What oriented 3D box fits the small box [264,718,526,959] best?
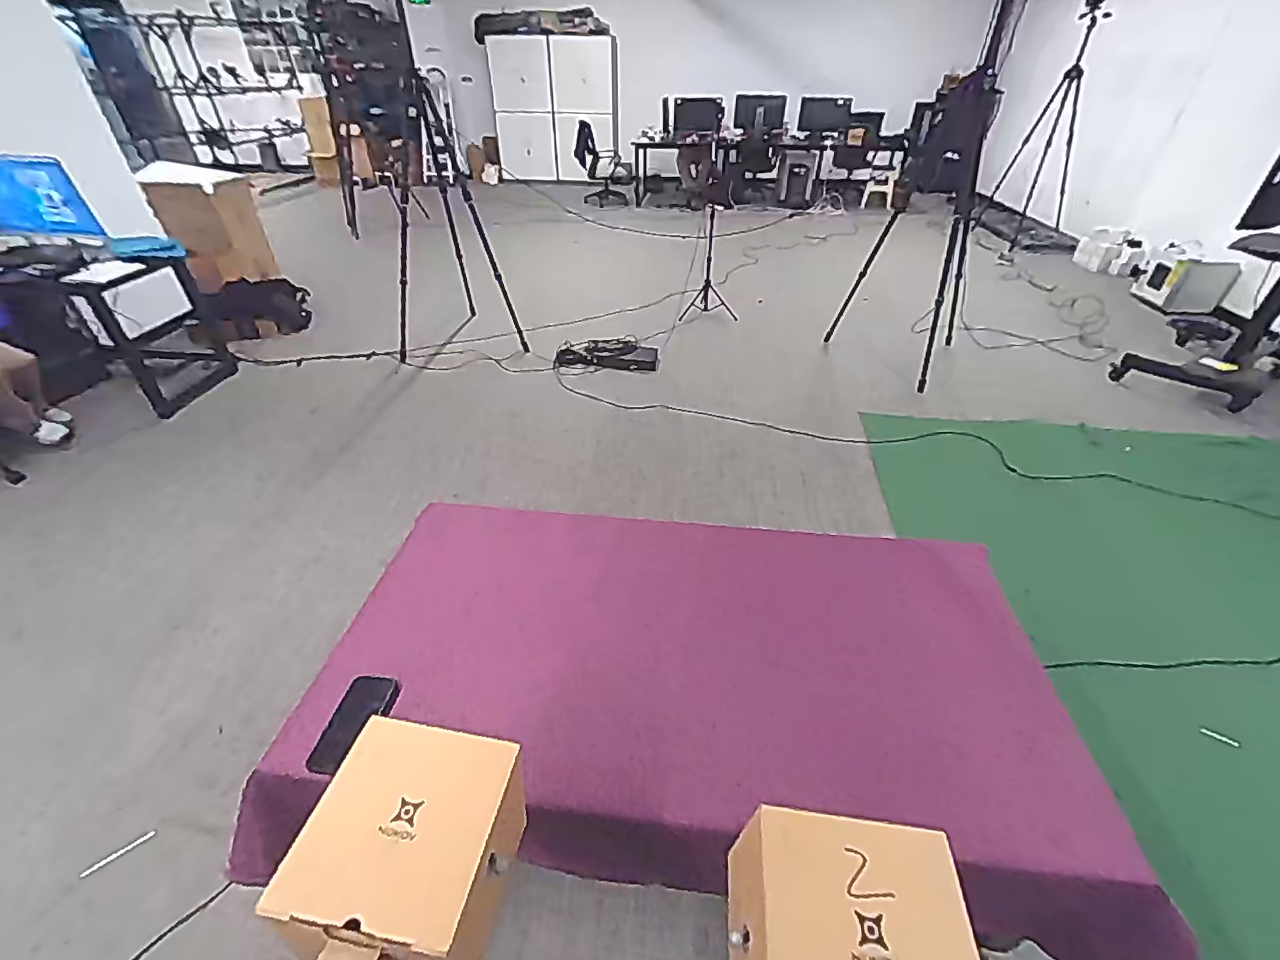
[{"bbox_3d":[-0.221,0.378,0.542,0.168,0.176,0.179,10,36,4],"label":"small box"}]
